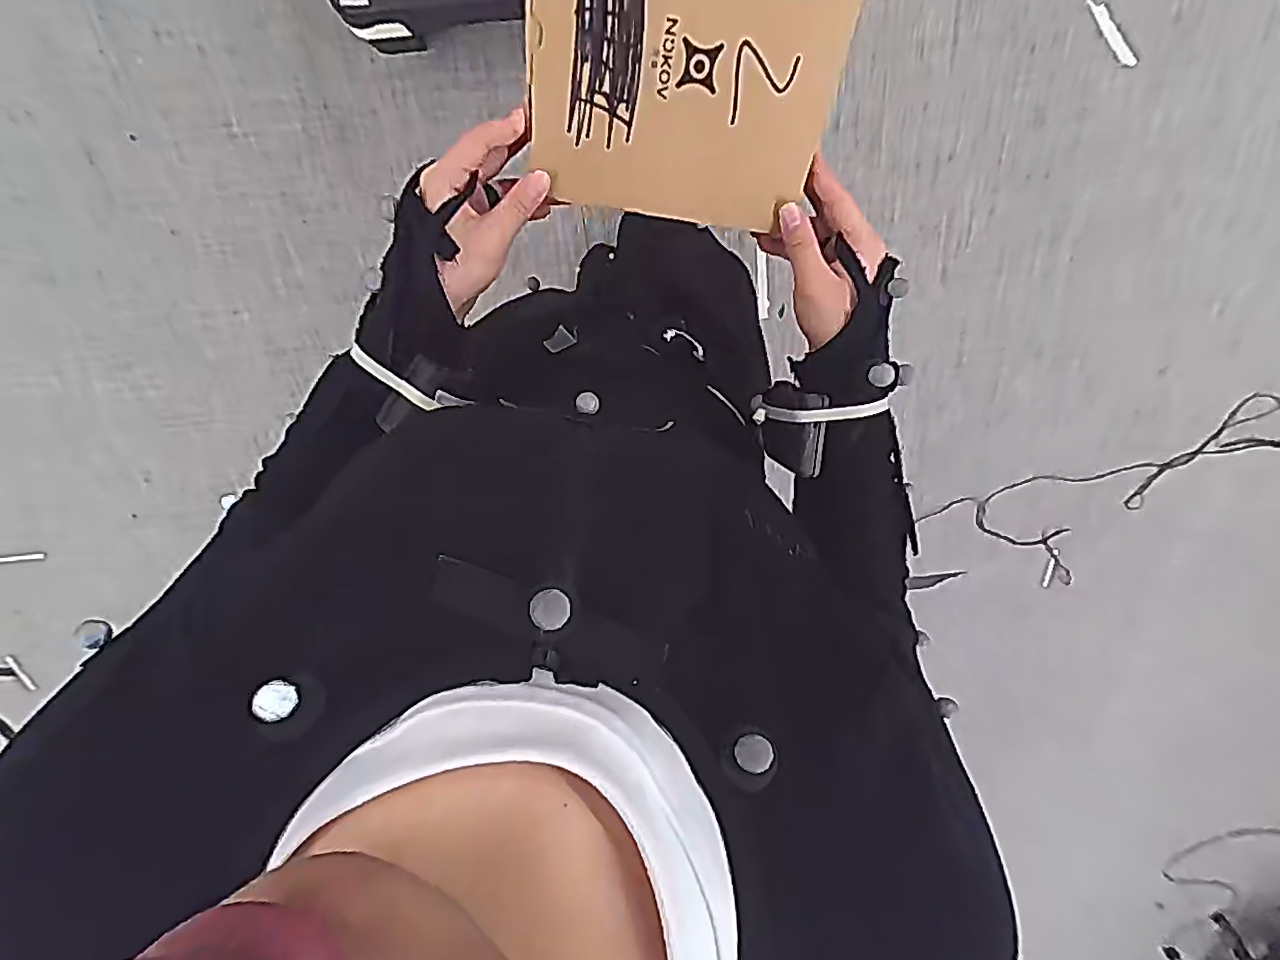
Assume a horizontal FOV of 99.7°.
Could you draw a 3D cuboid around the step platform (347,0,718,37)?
[{"bbox_3d":[-0.169,-0.937,0.859,0.684,0.204,0.286,-6,116,0],"label":"step platform"}]
